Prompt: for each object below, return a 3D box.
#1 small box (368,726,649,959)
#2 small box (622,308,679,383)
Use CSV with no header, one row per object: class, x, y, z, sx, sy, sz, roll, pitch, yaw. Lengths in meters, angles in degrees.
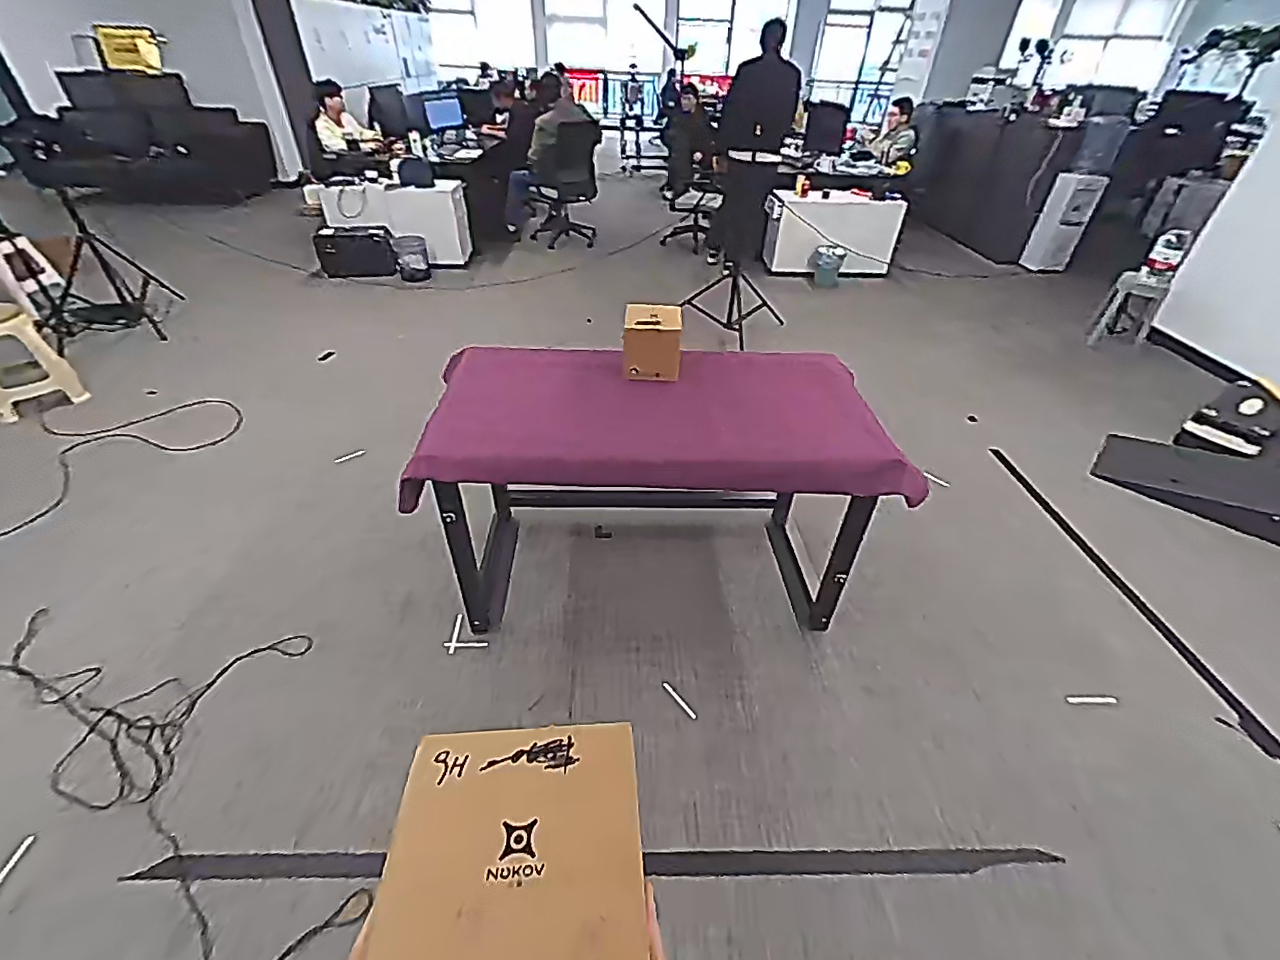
small box,-0.078,0.312,0.397,0.168,0.176,0.179,-2,35,-4
small box,0.033,-0.410,1.655,0.168,0.176,0.179,3,39,0
